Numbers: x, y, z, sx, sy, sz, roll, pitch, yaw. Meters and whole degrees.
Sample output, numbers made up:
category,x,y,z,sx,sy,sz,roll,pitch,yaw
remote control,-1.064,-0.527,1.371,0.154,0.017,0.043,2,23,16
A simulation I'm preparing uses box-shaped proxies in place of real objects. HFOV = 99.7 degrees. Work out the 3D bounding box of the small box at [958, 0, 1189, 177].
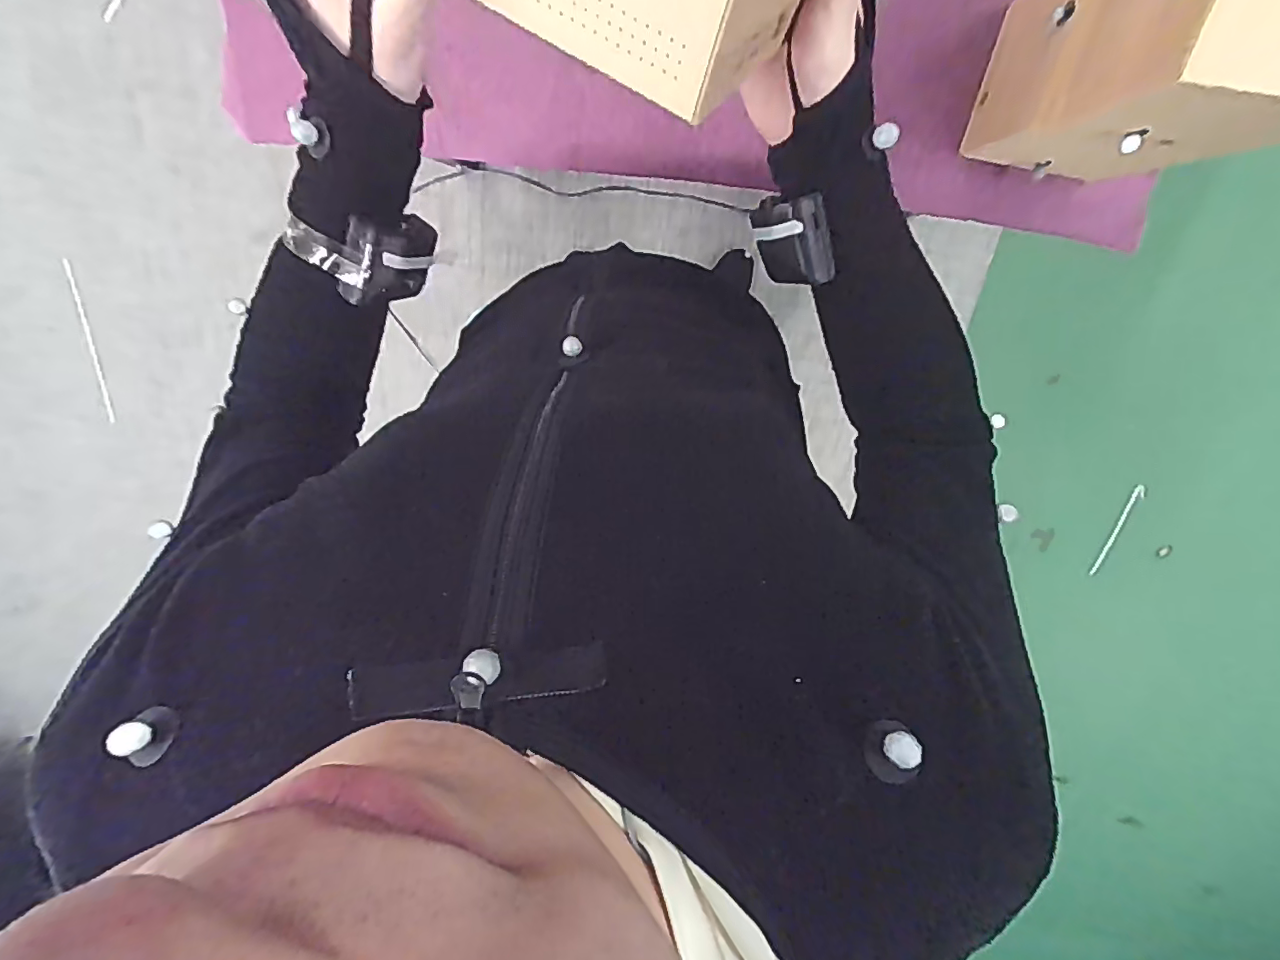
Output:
category,x,y,z,sx,sy,sz,roll,pitch,yaw
small box,0.502,-0.450,0.600,0.179,0.176,0.168,10,111,-1

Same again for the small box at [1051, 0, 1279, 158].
category,x,y,z,sx,sy,sz,roll,pitch,yaw
small box,0.496,-0.392,0.447,0.168,0.176,0.179,11,113,1
